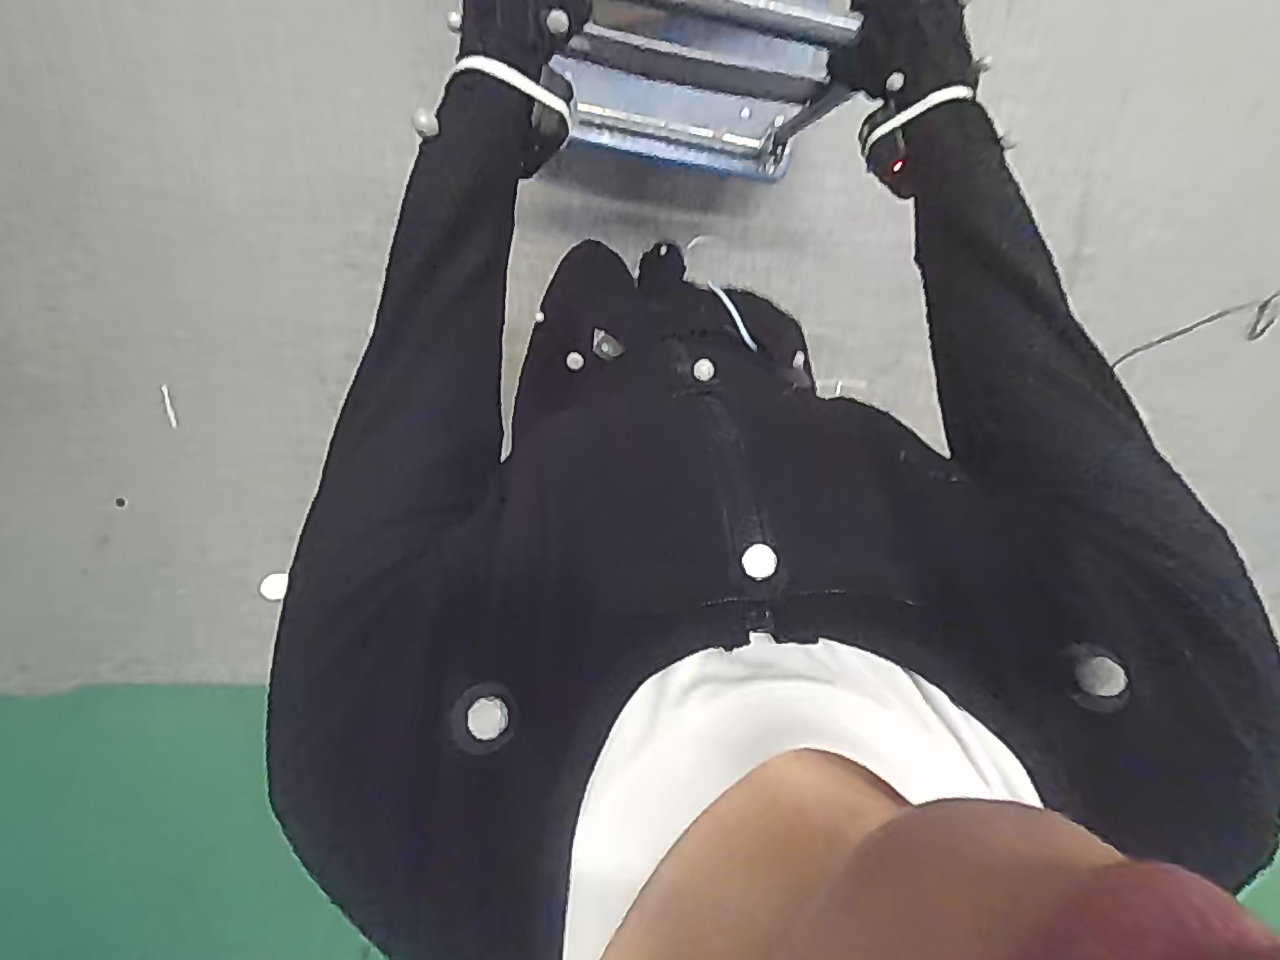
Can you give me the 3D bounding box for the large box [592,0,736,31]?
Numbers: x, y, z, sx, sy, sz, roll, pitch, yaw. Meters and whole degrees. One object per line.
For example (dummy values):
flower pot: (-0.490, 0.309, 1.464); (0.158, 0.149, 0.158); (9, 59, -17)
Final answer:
large box: (0.093, -0.971, 0.824); (0.408, 0.320, 0.320); (-11, 108, 2)
